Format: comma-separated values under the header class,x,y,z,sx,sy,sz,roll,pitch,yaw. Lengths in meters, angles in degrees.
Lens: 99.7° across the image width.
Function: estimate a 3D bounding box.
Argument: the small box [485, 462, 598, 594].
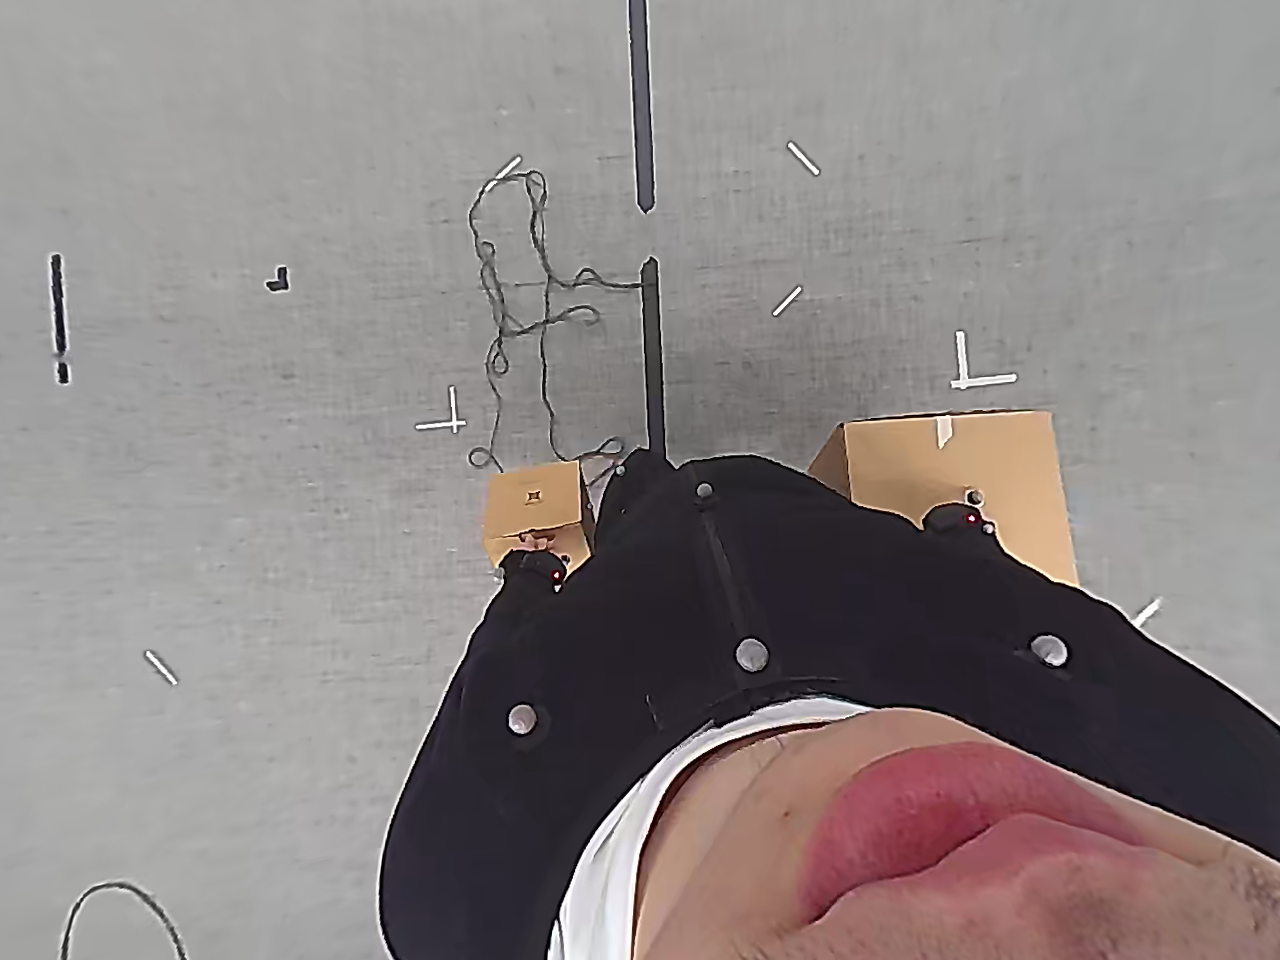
class,x,y,z,sx,sy,sz,roll,pitch,yaw
small box,-0.174,0.095,1.004,0.168,0.179,0.176,-10,128,-1
